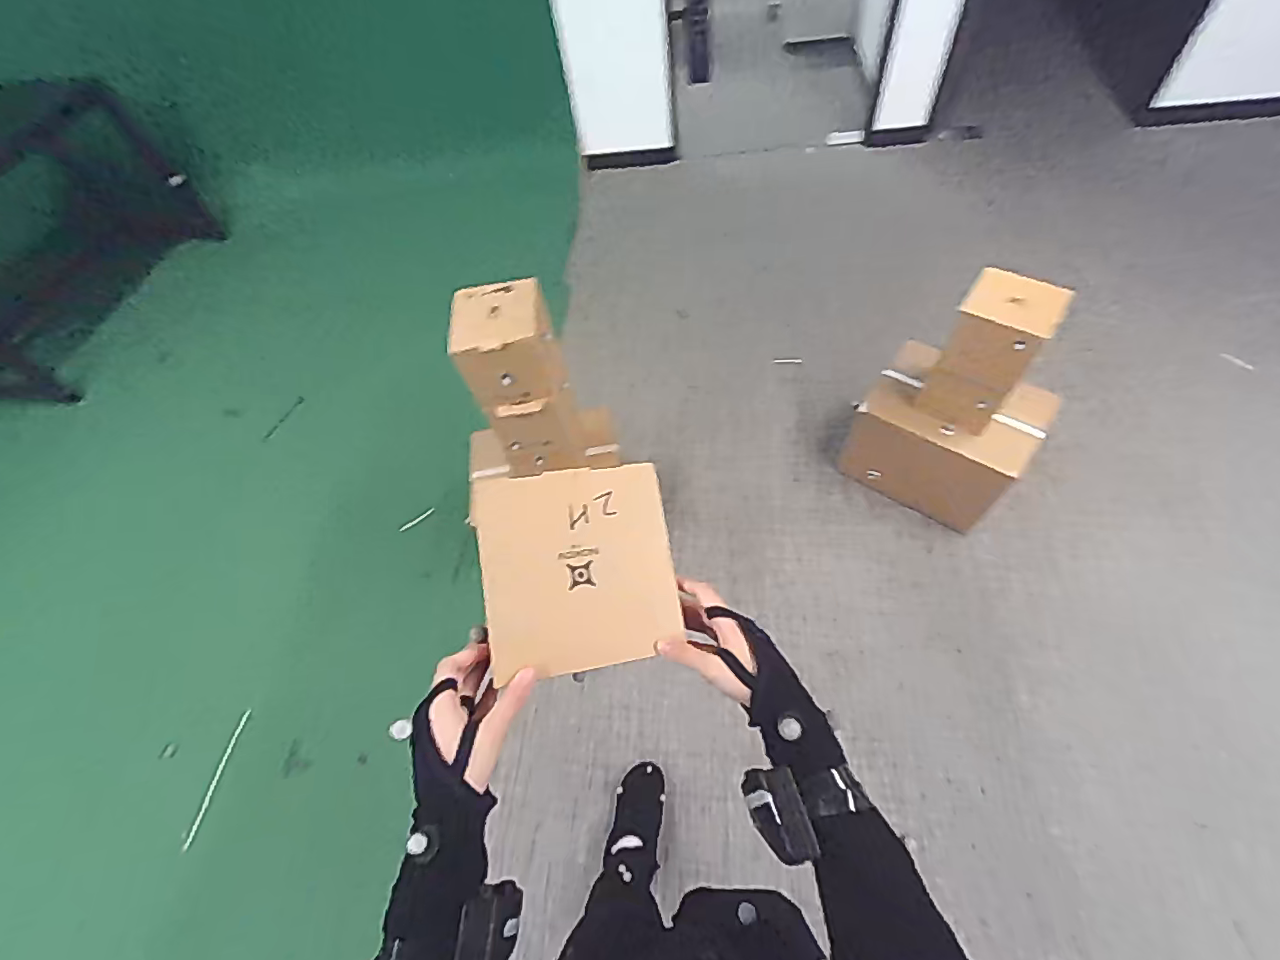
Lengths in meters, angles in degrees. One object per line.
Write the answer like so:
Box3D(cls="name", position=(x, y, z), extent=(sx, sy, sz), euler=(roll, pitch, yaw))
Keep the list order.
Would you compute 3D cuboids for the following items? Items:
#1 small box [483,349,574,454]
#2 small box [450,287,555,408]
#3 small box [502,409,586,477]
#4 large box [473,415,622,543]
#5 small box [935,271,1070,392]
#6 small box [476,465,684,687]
Box3D(cls="small box", position=(-0.250, -0.173, 1.251), extent=(0.168, 0.176, 0.179), euler=(-7, 57, 3))
Box3D(cls="small box", position=(-0.274, -0.264, 1.116), extent=(0.168, 0.176, 0.179), euler=(-8, 58, 2))
Box3D(cls="small box", position=(-0.240, -0.079, 1.385), extent=(0.179, 0.176, 0.168), euler=(-9, 57, 2))
Box3D(cls="large box", position=(-0.237, 0.061, 1.588), extent=(0.408, 0.320, 0.320), euler=(-13, 55, 2))
Box3D(cls="small box", position=(0.791, -0.324, 1.198), extent=(0.179, 0.176, 0.168), euler=(30, 66, 23))
Box3D(cls="small box", position=(-0.068, 0.098, 0.544), extent=(0.168, 0.176, 0.179), euler=(-6, 74, -14))
